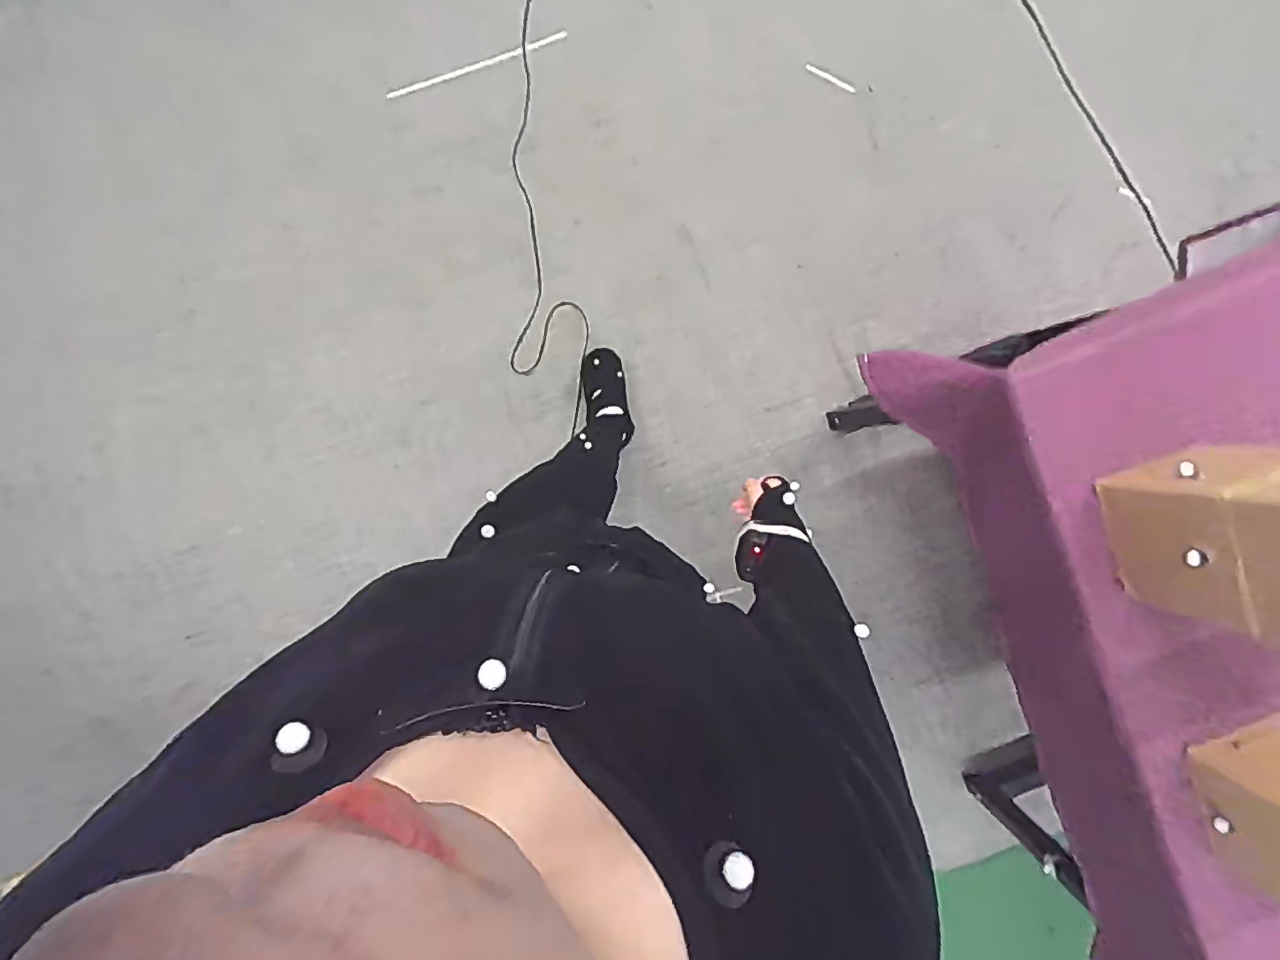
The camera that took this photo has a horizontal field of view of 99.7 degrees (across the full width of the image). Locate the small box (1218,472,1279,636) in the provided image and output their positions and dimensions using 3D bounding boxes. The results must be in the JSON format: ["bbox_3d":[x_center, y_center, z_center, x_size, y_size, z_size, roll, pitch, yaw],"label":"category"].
[{"bbox_3d":[0.750,0.078,0.534,0.168,0.176,0.179,-19,94,0],"label":"small box"}]

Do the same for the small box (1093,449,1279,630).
[{"bbox_3d":[0.740,0.063,0.697,0.168,0.176,0.179,-18,95,0],"label":"small box"}]

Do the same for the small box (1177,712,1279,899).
[{"bbox_3d":[0.897,0.453,0.728,0.168,0.176,0.179,-20,95,-1],"label":"small box"}]
